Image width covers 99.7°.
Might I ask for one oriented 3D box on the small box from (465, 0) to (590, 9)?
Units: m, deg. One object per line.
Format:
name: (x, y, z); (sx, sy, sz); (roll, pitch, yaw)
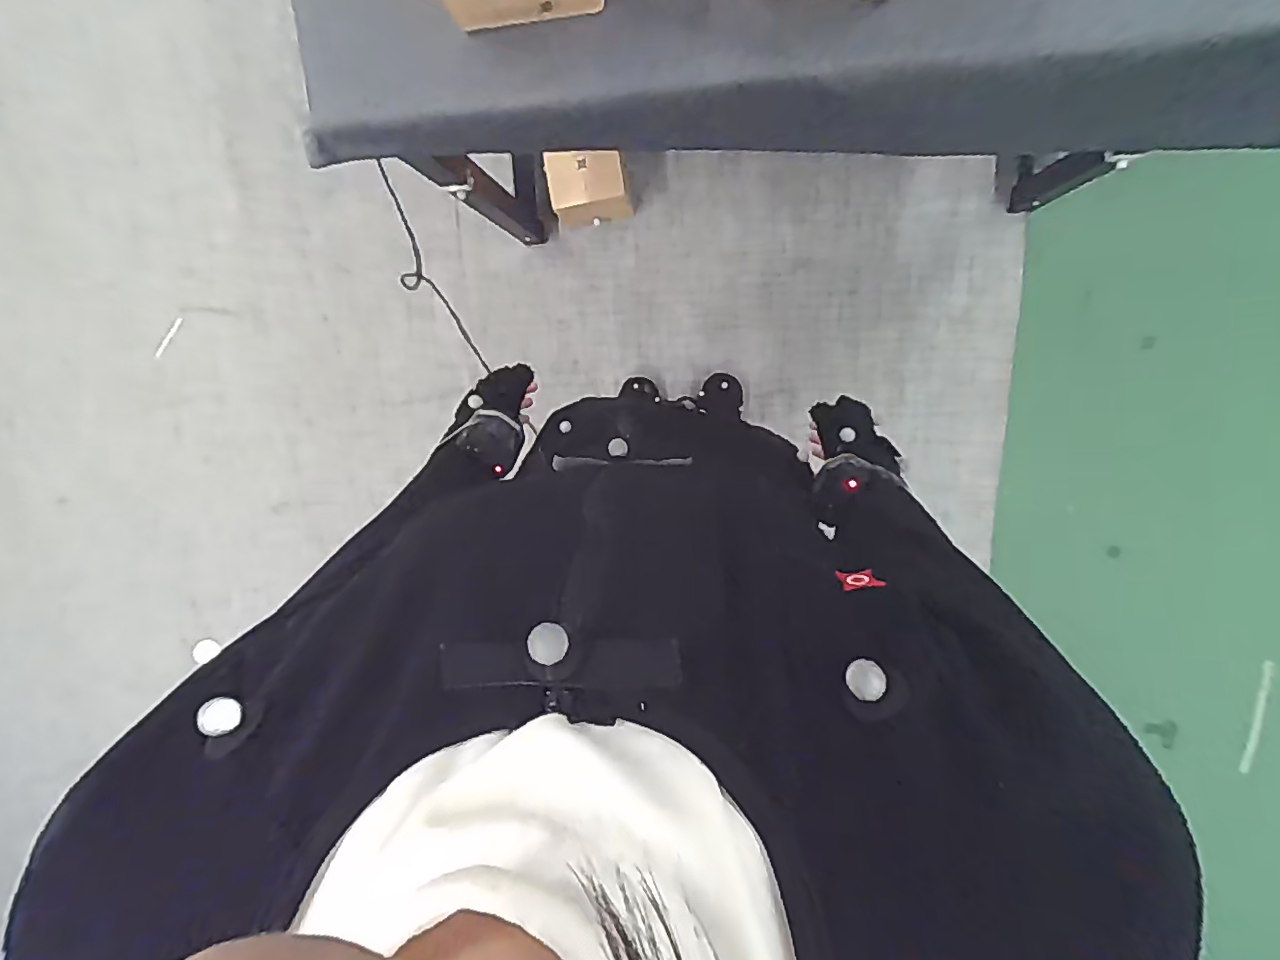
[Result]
small box: (-0.131, -0.591, 0.509); (0.168, 0.176, 0.179); (-1, 101, 7)
